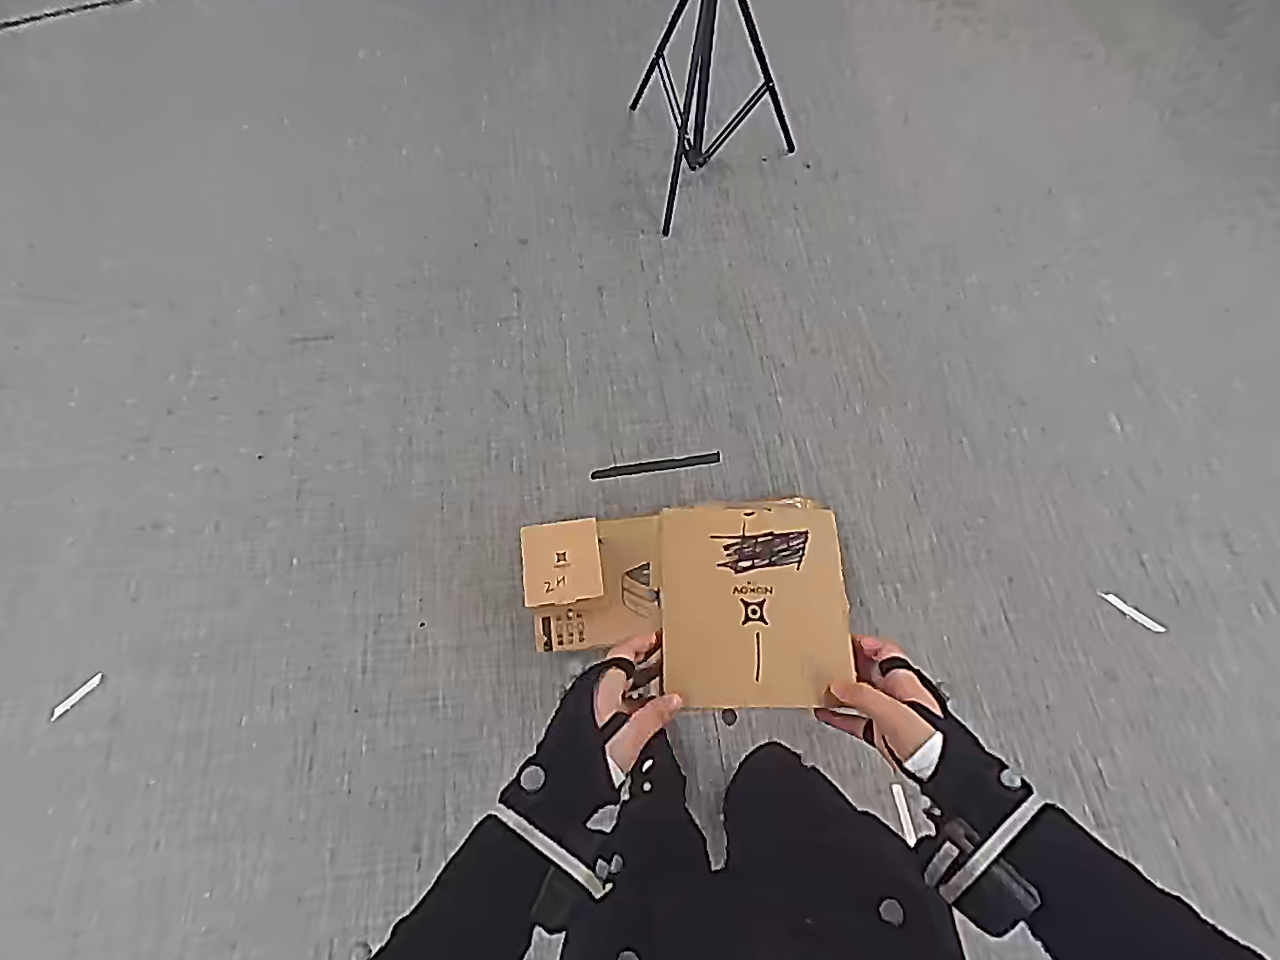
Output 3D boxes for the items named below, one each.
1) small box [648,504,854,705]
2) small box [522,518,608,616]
[{"bbox_3d":[0.095,0.135,0.554,0.168,0.176,0.179,1,69,-2],"label":"small box"},{"bbox_3d":[-0.165,0.200,1.219,0.168,0.176,0.179,-7,70,-2],"label":"small box"}]
